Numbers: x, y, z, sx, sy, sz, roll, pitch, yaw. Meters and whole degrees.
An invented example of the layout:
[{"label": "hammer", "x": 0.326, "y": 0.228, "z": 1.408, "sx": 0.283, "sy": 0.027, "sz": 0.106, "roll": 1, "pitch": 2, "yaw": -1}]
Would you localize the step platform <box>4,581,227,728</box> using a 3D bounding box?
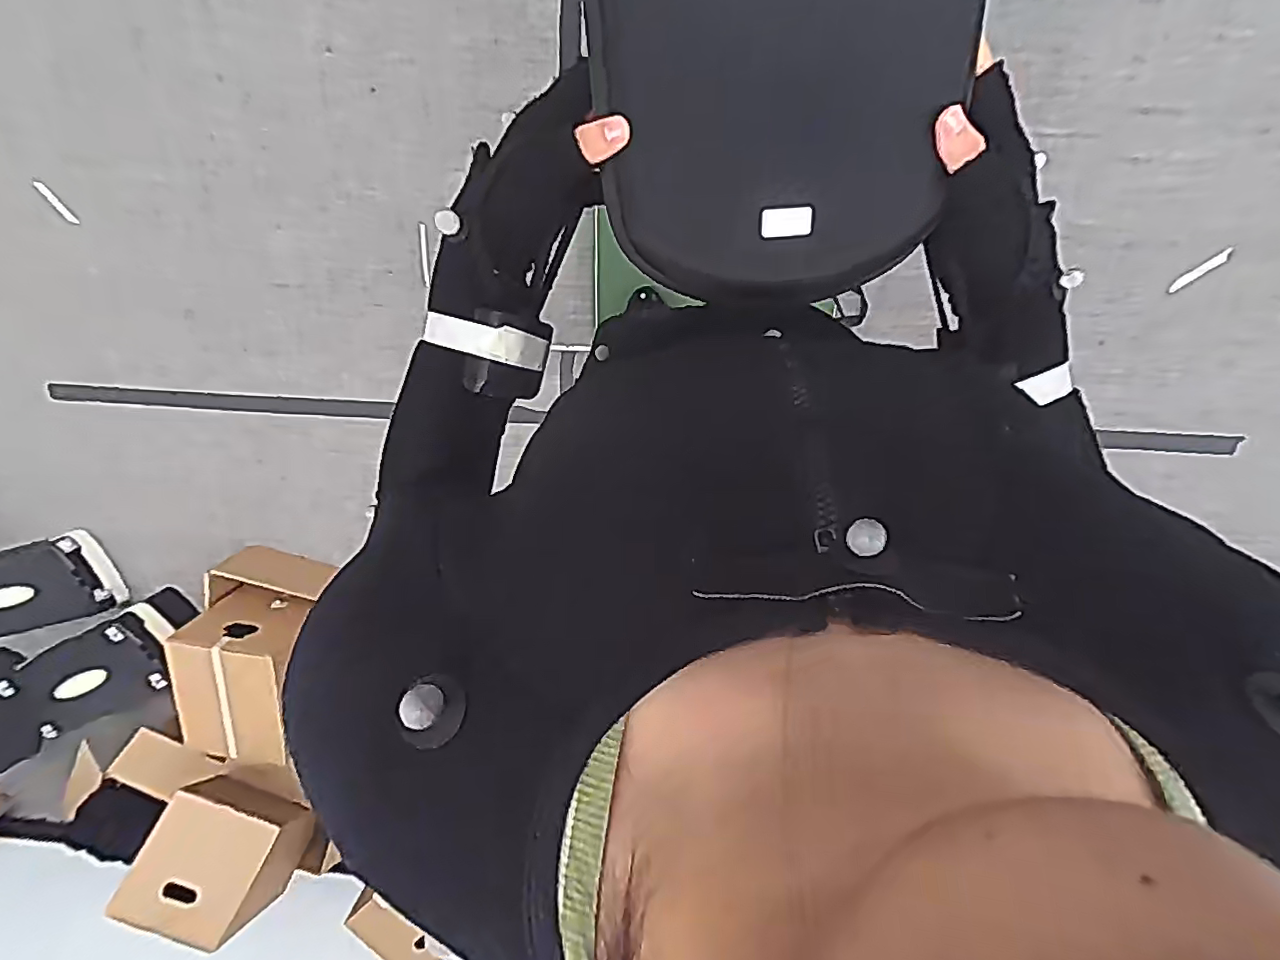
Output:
[{"label": "step platform", "x": -1.818, "y": 0.611, "z": 1.876, "sx": 0.684, "sy": 0.204, "sz": 0.286, "roll": -25, "pitch": 107, "yaw": 13}]
